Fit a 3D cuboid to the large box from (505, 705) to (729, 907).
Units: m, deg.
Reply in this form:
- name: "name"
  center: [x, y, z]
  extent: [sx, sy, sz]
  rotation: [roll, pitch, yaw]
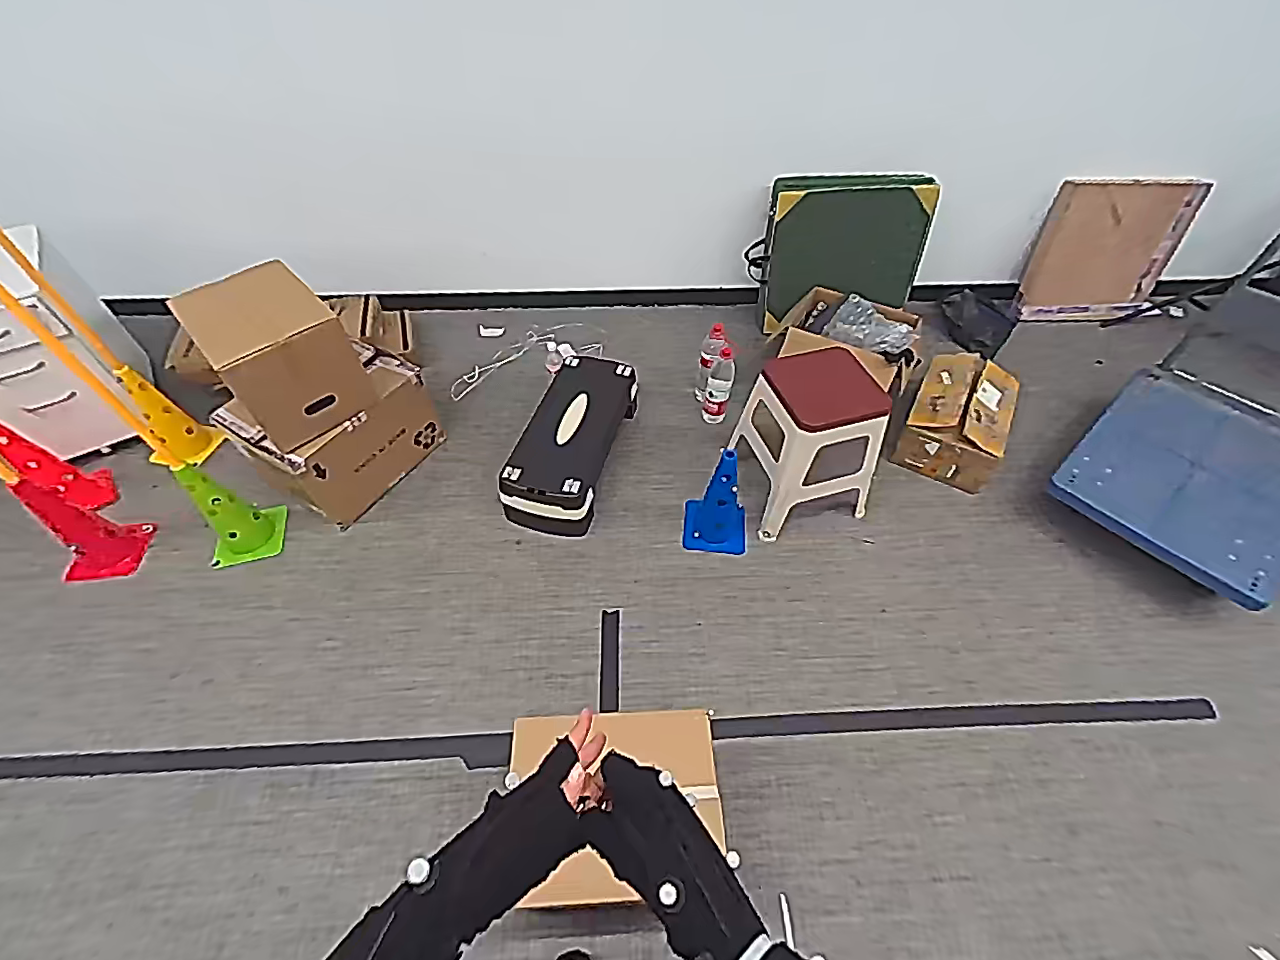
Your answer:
- name: "large box"
  center: [-0.054, 0.697, 1.153]
  extent: [0.408, 0.320, 0.320]
  rotation: [-1, 52, -3]
